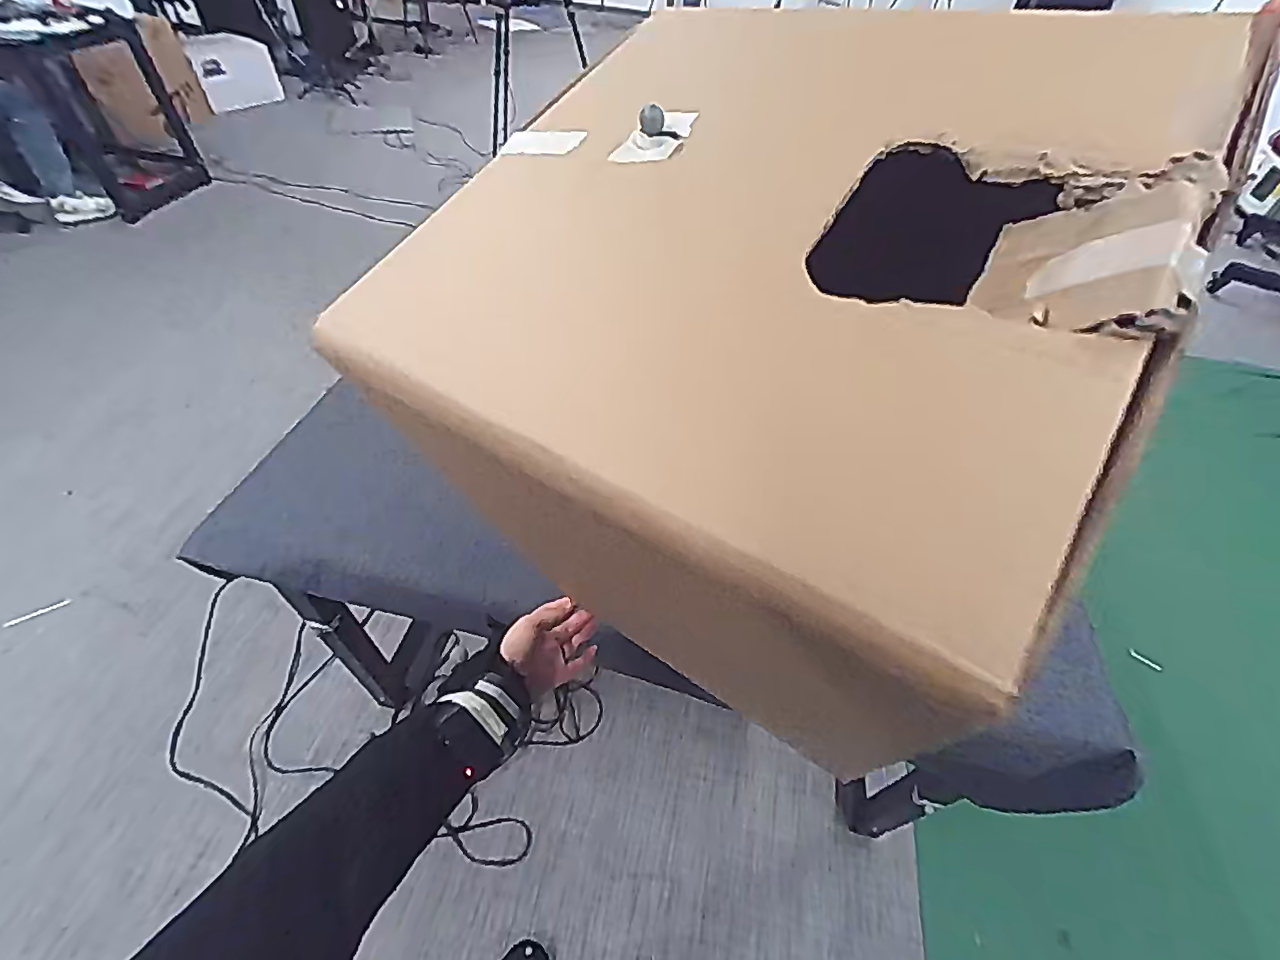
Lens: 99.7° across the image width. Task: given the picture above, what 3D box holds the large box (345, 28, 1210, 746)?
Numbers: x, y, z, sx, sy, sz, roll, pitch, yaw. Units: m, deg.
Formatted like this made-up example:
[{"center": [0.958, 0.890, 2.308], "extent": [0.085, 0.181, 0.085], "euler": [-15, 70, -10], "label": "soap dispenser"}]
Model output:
[{"center": [0.089, -0.033, 0.419], "extent": [0.320, 0.408, 0.320], "euler": [27, 70, 25], "label": "large box"}]
